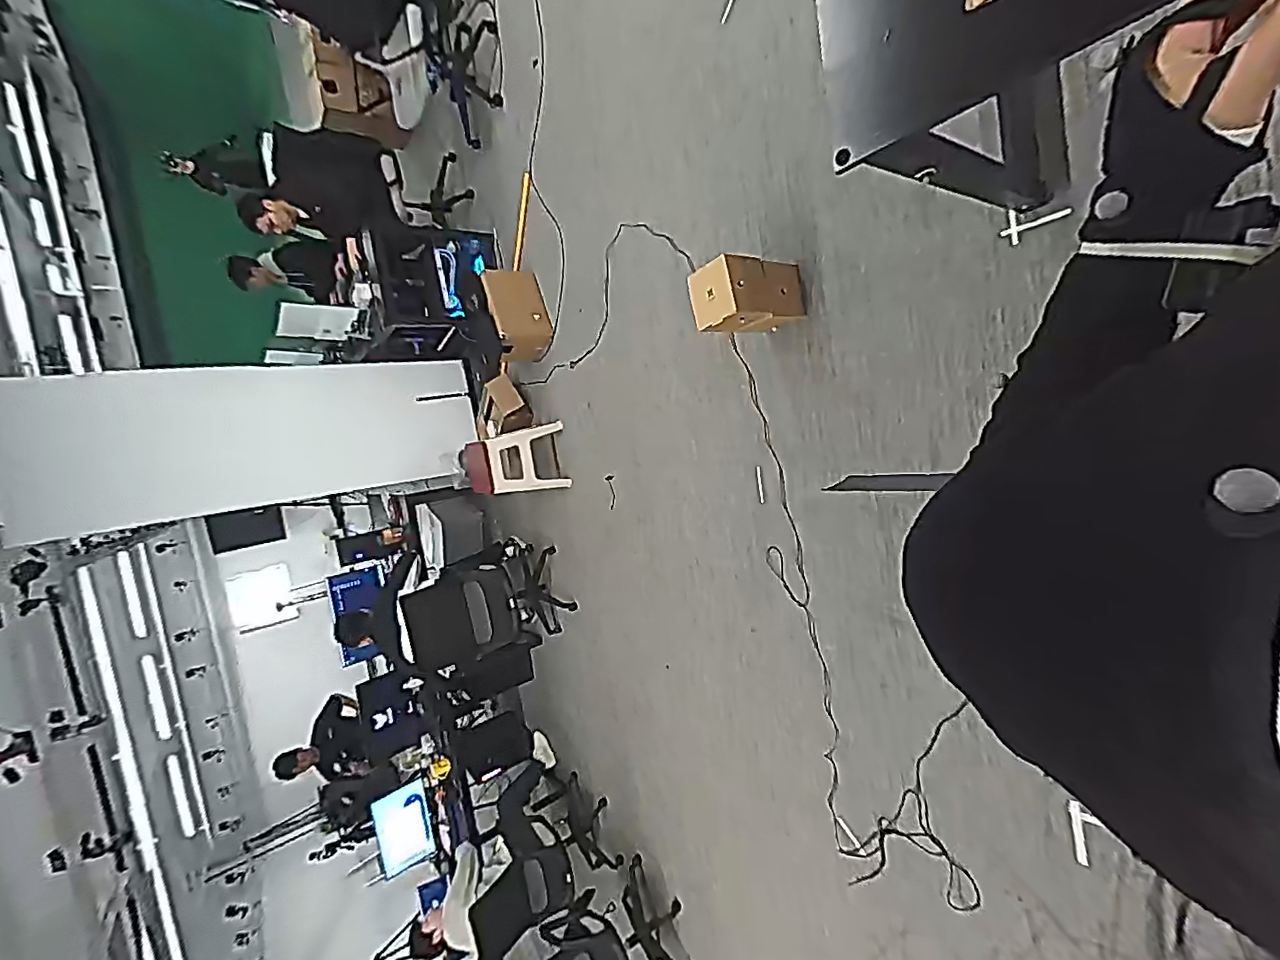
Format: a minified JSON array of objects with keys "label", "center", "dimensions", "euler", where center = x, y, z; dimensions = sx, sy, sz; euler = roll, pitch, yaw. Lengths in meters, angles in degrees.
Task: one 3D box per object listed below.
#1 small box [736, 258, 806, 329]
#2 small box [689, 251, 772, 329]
[{"label":"small box","center":[0.410,-0.595,1.744],"dimensions":[0.168,0.176,0.179],"euler":[-7,95,54]},{"label":"small box","center":[0.280,-0.573,1.649],"dimensions":[0.168,0.176,0.179],"euler":[-13,88,53]}]
